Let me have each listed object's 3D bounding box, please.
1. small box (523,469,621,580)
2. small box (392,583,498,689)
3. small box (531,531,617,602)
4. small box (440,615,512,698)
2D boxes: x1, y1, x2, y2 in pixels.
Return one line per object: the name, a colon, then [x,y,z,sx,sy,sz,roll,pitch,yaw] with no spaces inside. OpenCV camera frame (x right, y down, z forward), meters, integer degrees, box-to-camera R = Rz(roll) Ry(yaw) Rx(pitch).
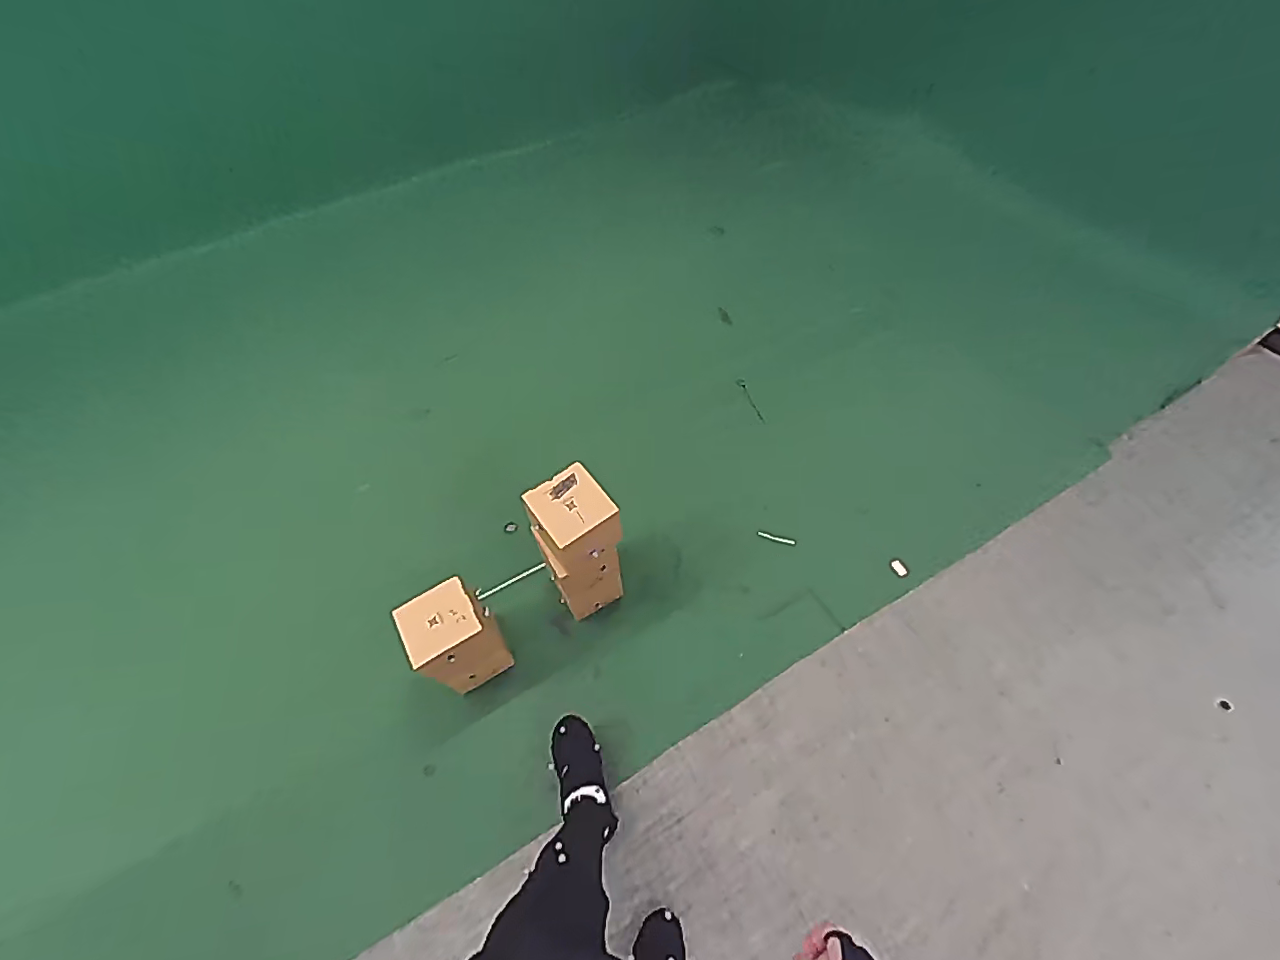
small box: [-0.162,0.112,1.324,0.168,0.176,0.179,-33,63,-18]
small box: [-0.481,0.395,1.351,0.179,0.176,0.168,-28,60,-15]
small box: [-0.171,0.207,1.458,0.168,0.176,0.179,-27,60,-16]
small box: [-0.474,0.480,1.492,0.168,0.176,0.179,-29,59,-15]
